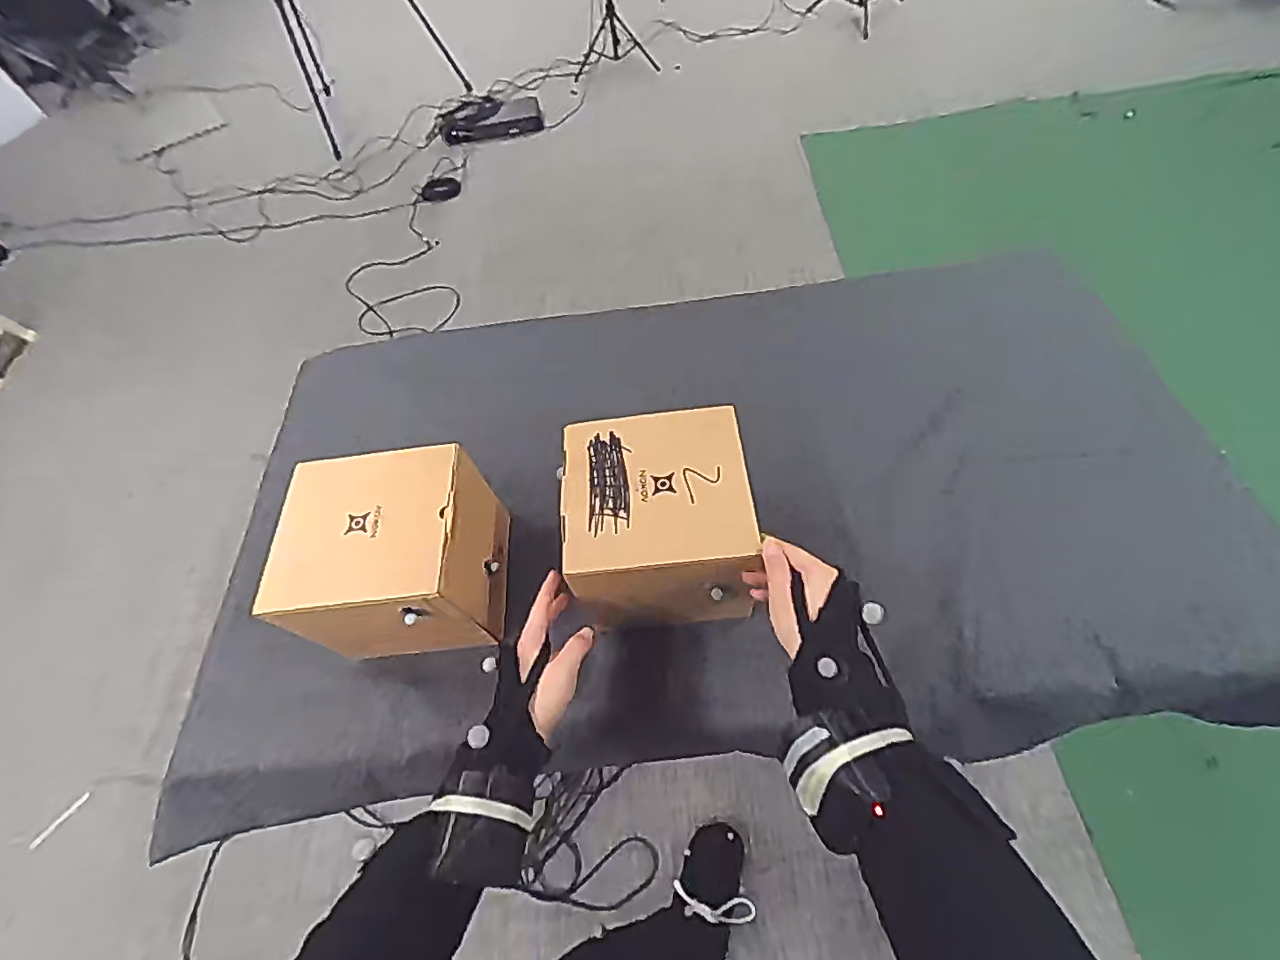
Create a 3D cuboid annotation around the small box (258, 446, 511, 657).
[{"bbox_3d":[-0.254,0.085,0.588,0.179,0.176,0.168,-7,57,2],"label":"small box"}]
